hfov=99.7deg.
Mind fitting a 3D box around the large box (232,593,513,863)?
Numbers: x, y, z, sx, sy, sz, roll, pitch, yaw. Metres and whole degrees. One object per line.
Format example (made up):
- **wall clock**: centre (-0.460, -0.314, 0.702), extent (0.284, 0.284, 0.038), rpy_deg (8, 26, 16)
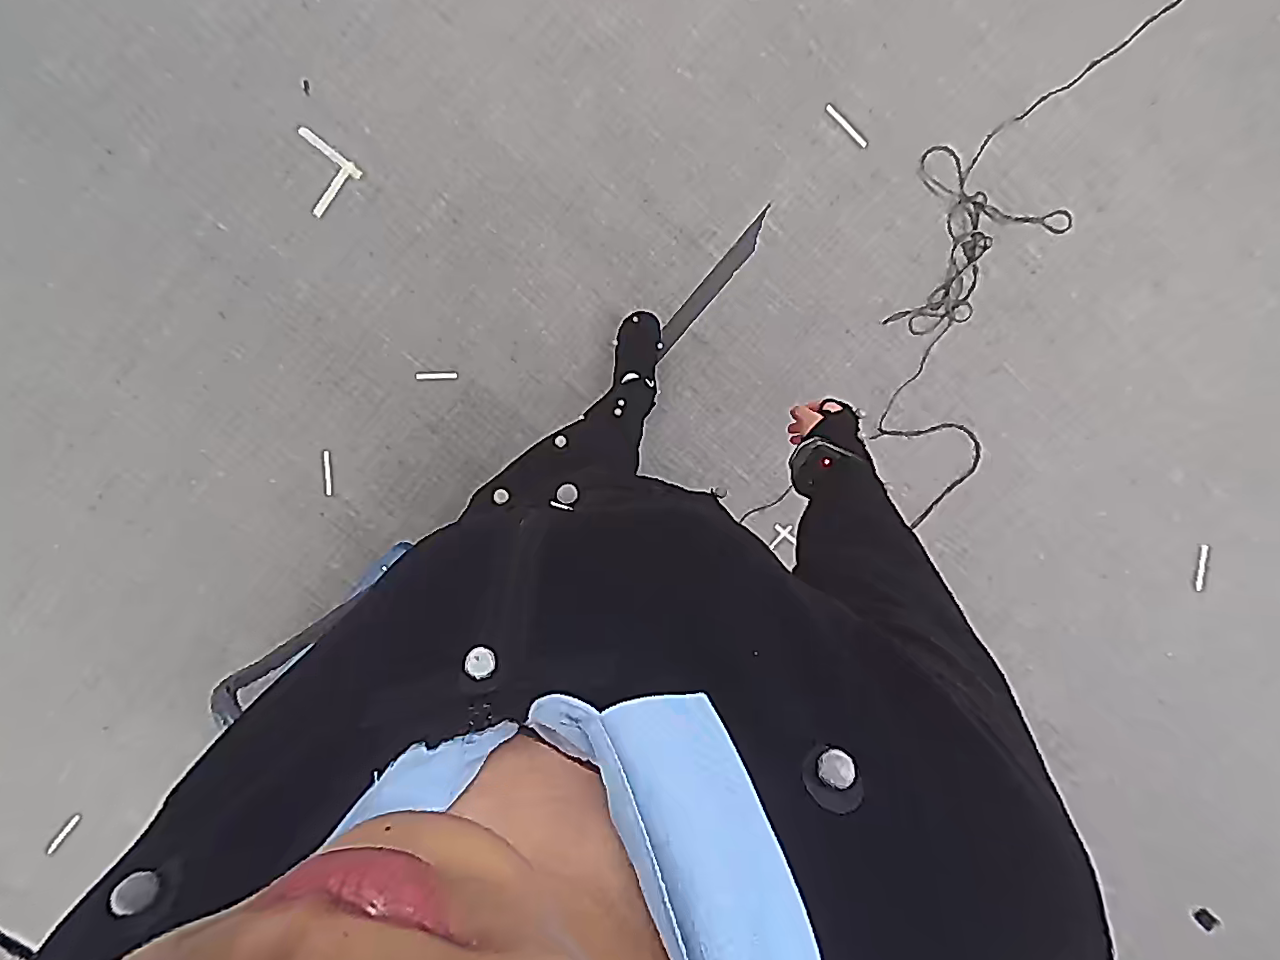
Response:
- **large box**: centre (-0.560, 0.529, 1.217), extent (0.408, 0.320, 0.320), rpy_deg (39, 94, -6)
